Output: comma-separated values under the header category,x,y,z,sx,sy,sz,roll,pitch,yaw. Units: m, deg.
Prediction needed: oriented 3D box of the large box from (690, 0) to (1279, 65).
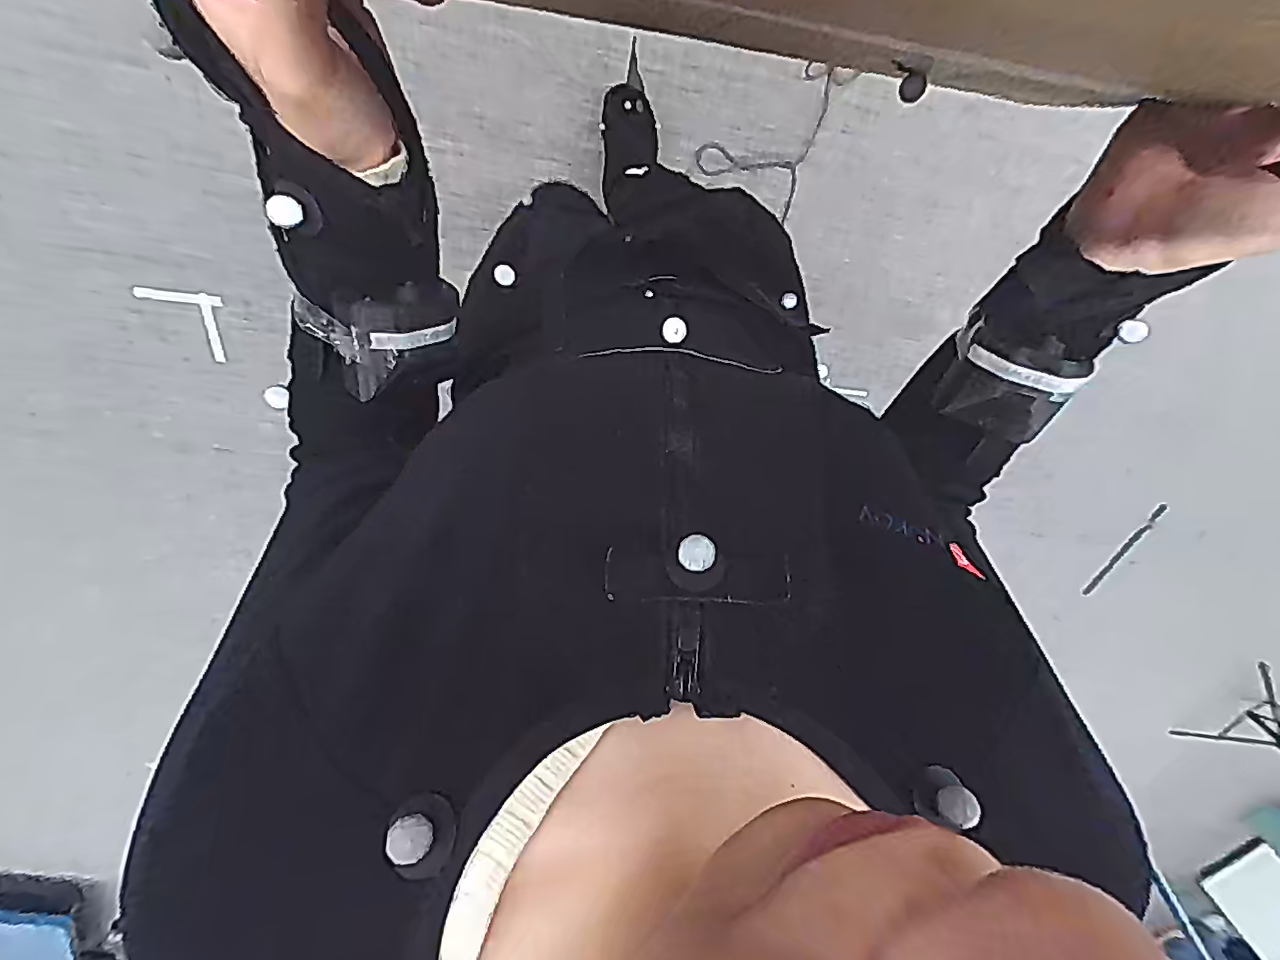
category,x,y,z,sx,sy,sz,roll,pitch,yaw
large box,0.095,-0.319,0.116,0.408,0.320,0.320,3,126,-8
